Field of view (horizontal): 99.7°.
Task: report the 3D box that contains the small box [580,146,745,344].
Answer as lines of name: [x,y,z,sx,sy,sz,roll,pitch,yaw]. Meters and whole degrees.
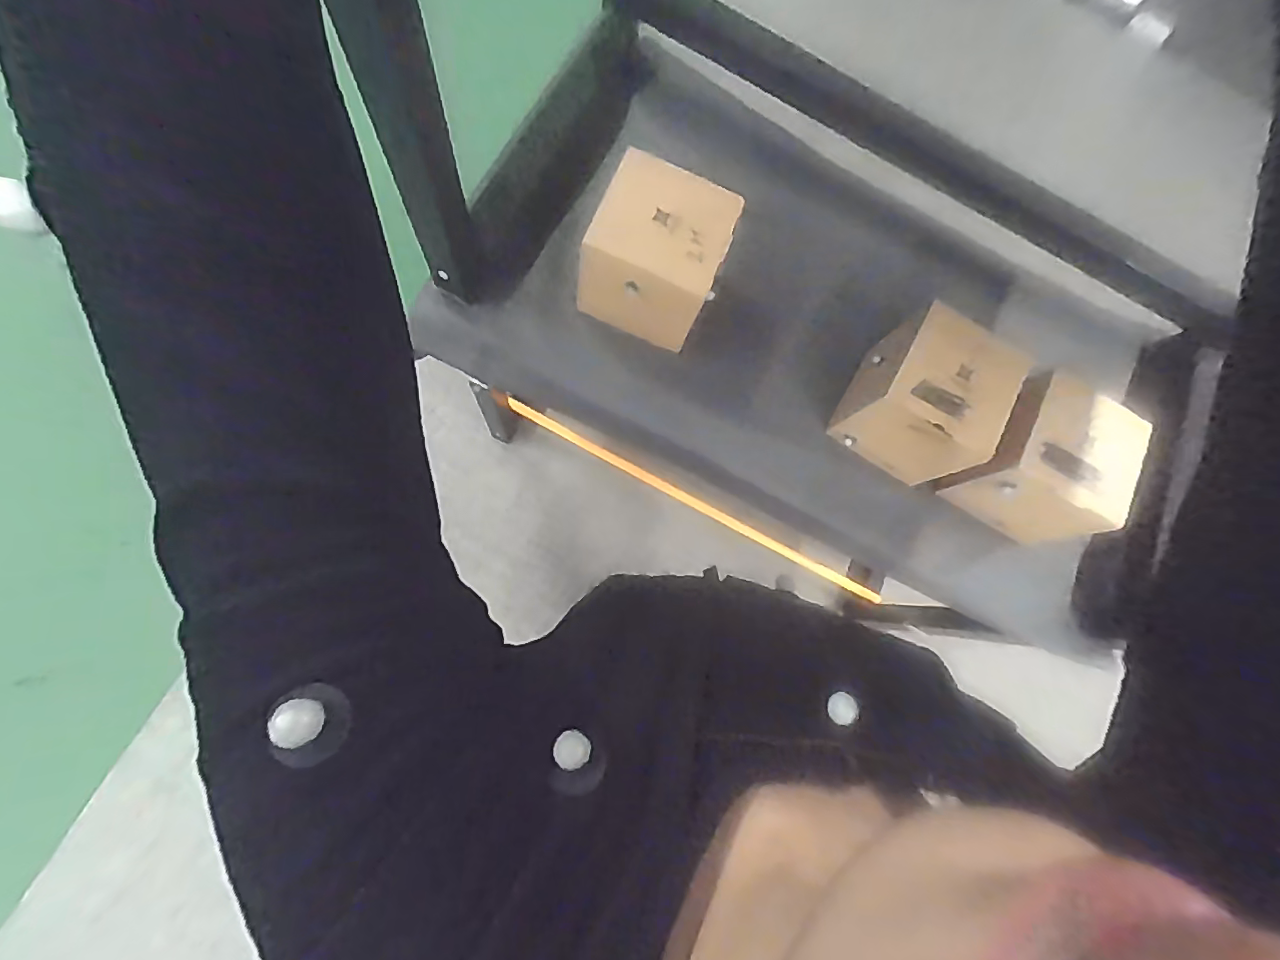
small box: [0.021,-0.325,0.784,0.179,0.176,0.168,24,77,-4]
